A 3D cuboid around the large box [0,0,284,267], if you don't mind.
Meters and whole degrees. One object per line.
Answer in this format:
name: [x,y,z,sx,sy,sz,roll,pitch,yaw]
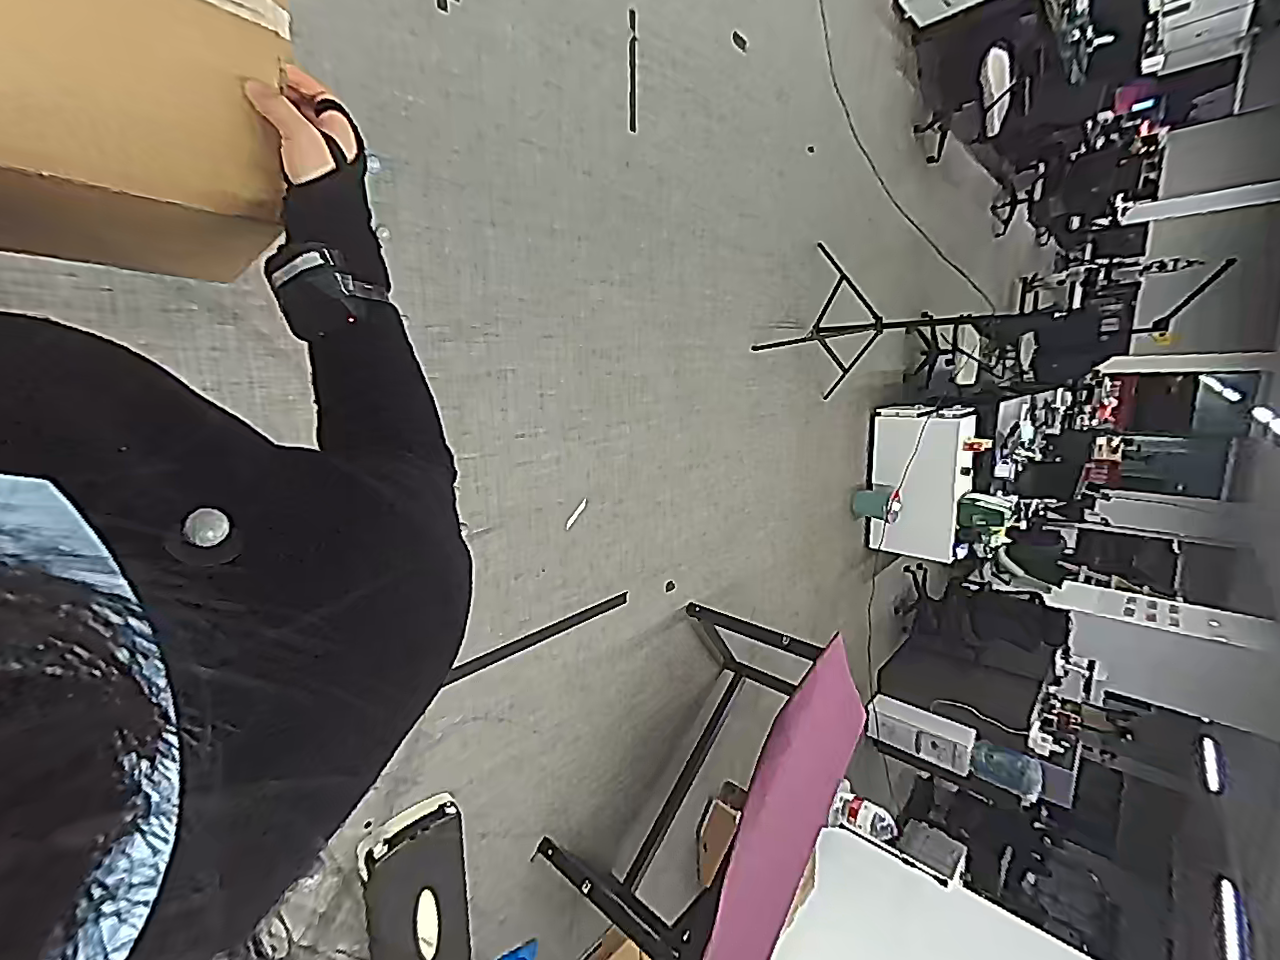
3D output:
large box: [-0.542,-0.375,0.408,0.408,0.320,0.320,-6,99,-43]
